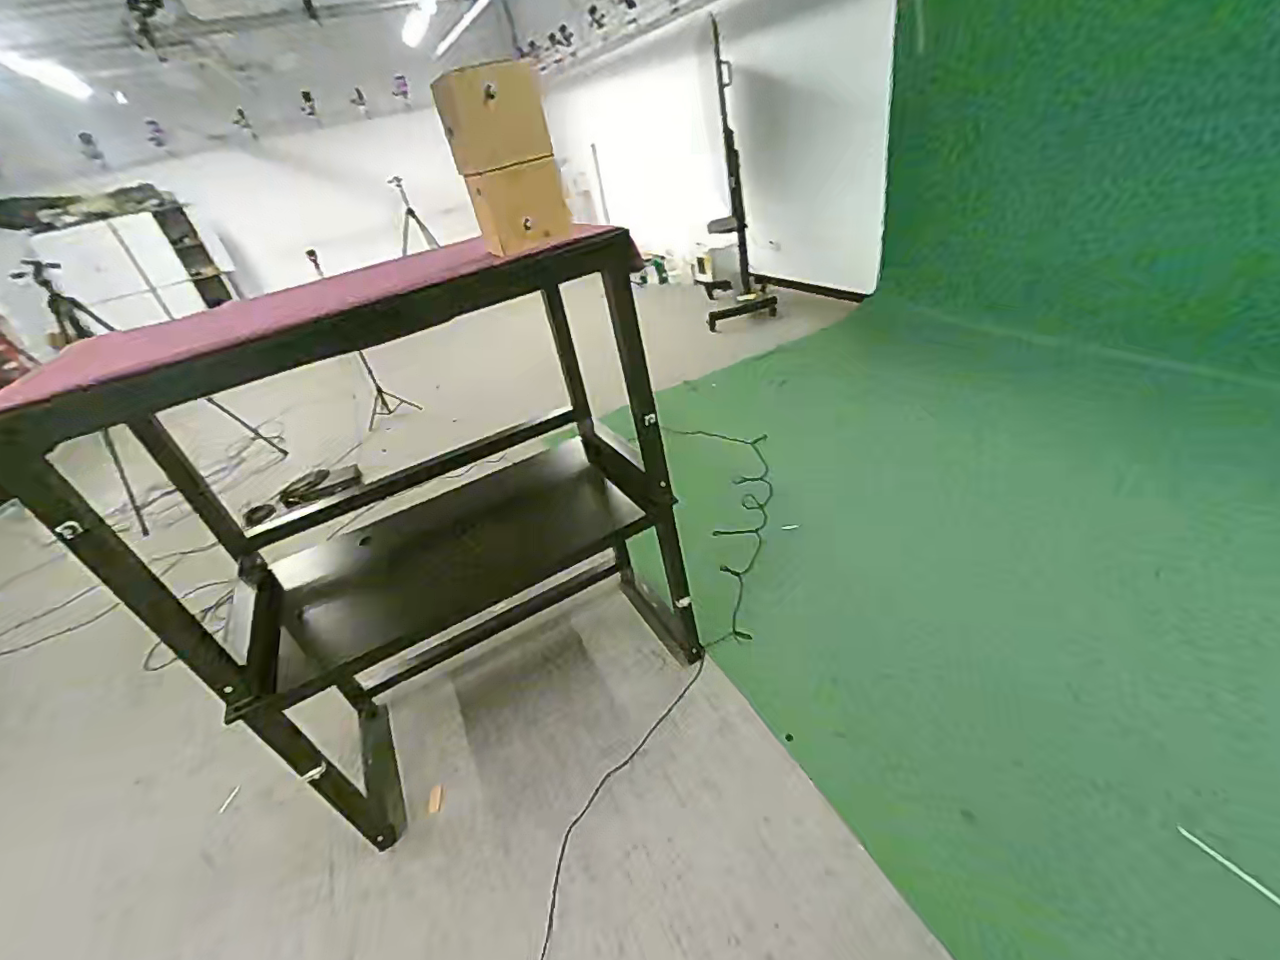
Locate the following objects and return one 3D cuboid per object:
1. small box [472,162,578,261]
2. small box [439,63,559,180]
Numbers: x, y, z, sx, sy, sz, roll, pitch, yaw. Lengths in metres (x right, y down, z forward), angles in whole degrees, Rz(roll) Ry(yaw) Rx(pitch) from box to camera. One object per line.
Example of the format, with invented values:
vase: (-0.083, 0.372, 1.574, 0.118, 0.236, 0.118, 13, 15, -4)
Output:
small box: (-0.257, -0.603, 1.219, 0.168, 0.176, 0.179, -24, 35, -17)
small box: (-0.290, -0.732, 1.121, 0.179, 0.176, 0.168, -24, 36, -17)
